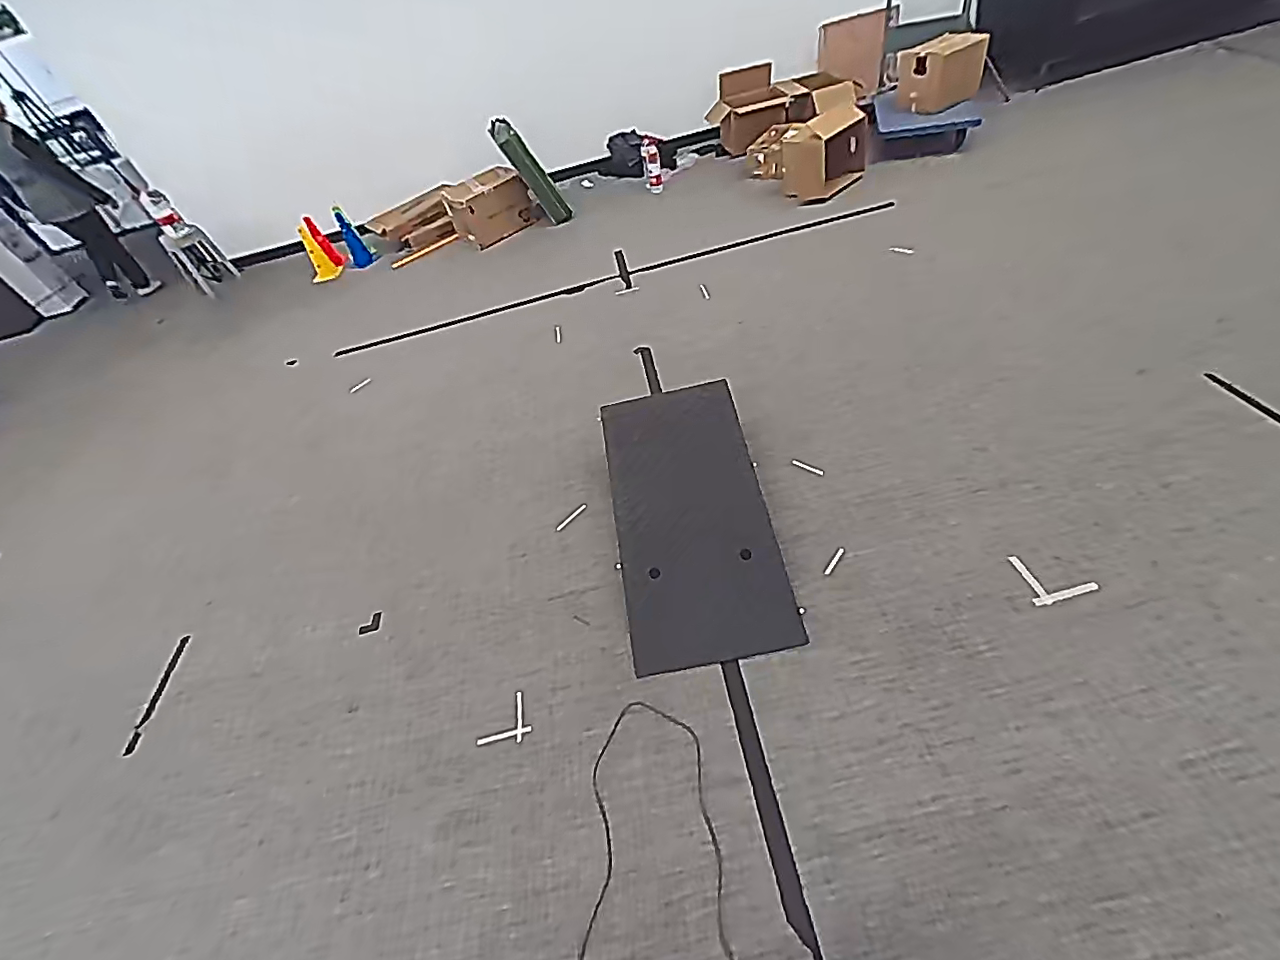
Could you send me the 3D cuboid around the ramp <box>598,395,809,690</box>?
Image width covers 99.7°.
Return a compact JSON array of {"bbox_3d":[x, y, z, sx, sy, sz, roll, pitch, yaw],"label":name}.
[{"bbox_3d":[0.158,0.137,1.789,0.509,0.206,0.991,-14,45,1],"label":"ramp"}]
